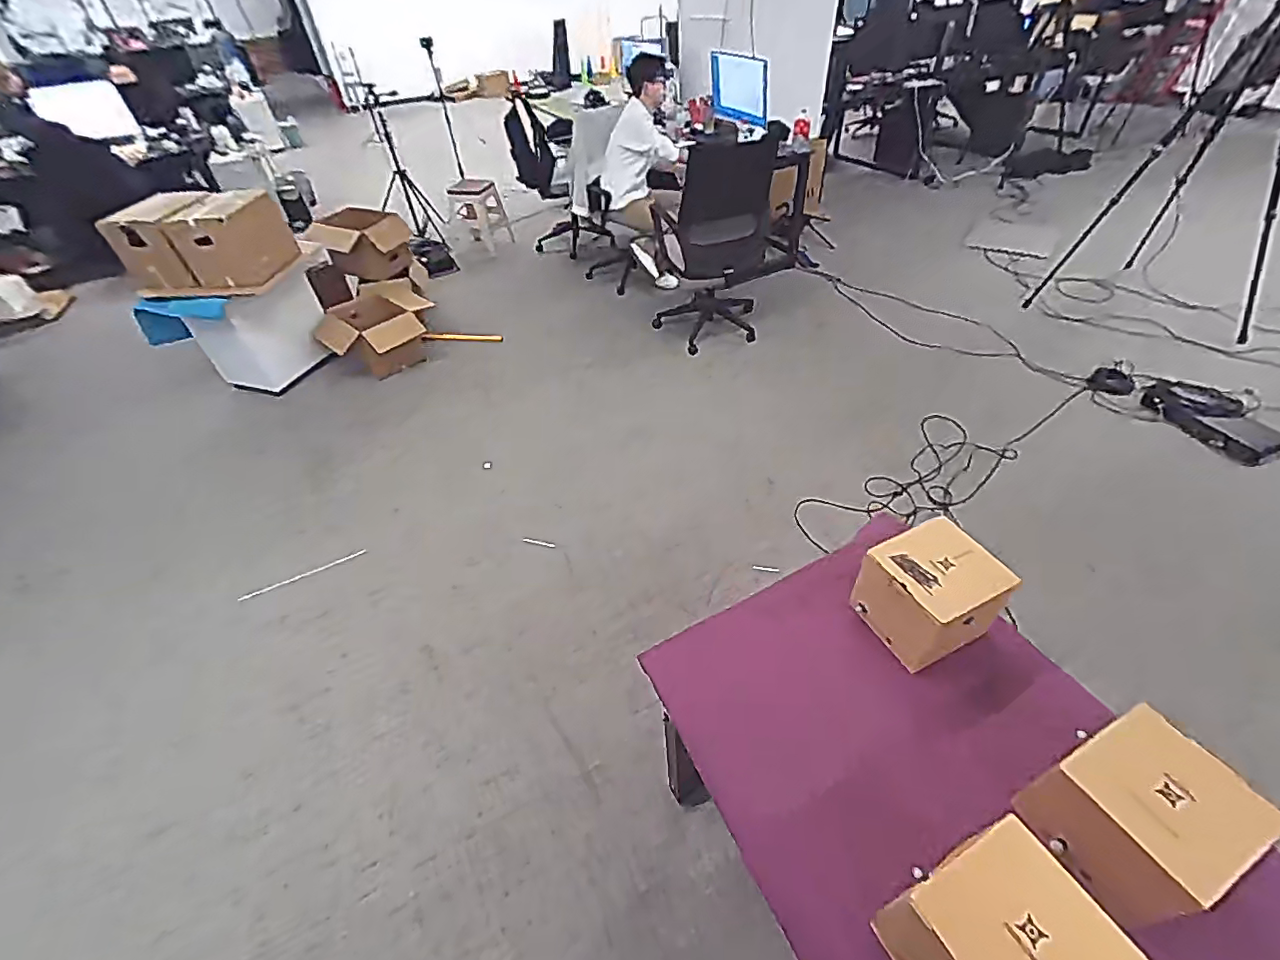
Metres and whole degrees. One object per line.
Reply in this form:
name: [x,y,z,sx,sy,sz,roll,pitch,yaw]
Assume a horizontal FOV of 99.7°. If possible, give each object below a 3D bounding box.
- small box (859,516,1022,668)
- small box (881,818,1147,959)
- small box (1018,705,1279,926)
small box: [0.512,0.201,0.956,0.179,0.176,0.168,-21,47,-15]
small box: [0.413,0.535,0.622,0.179,0.176,0.168,-22,47,-18]
small box: [0.647,0.436,0.706,0.179,0.176,0.168,-22,46,-16]
